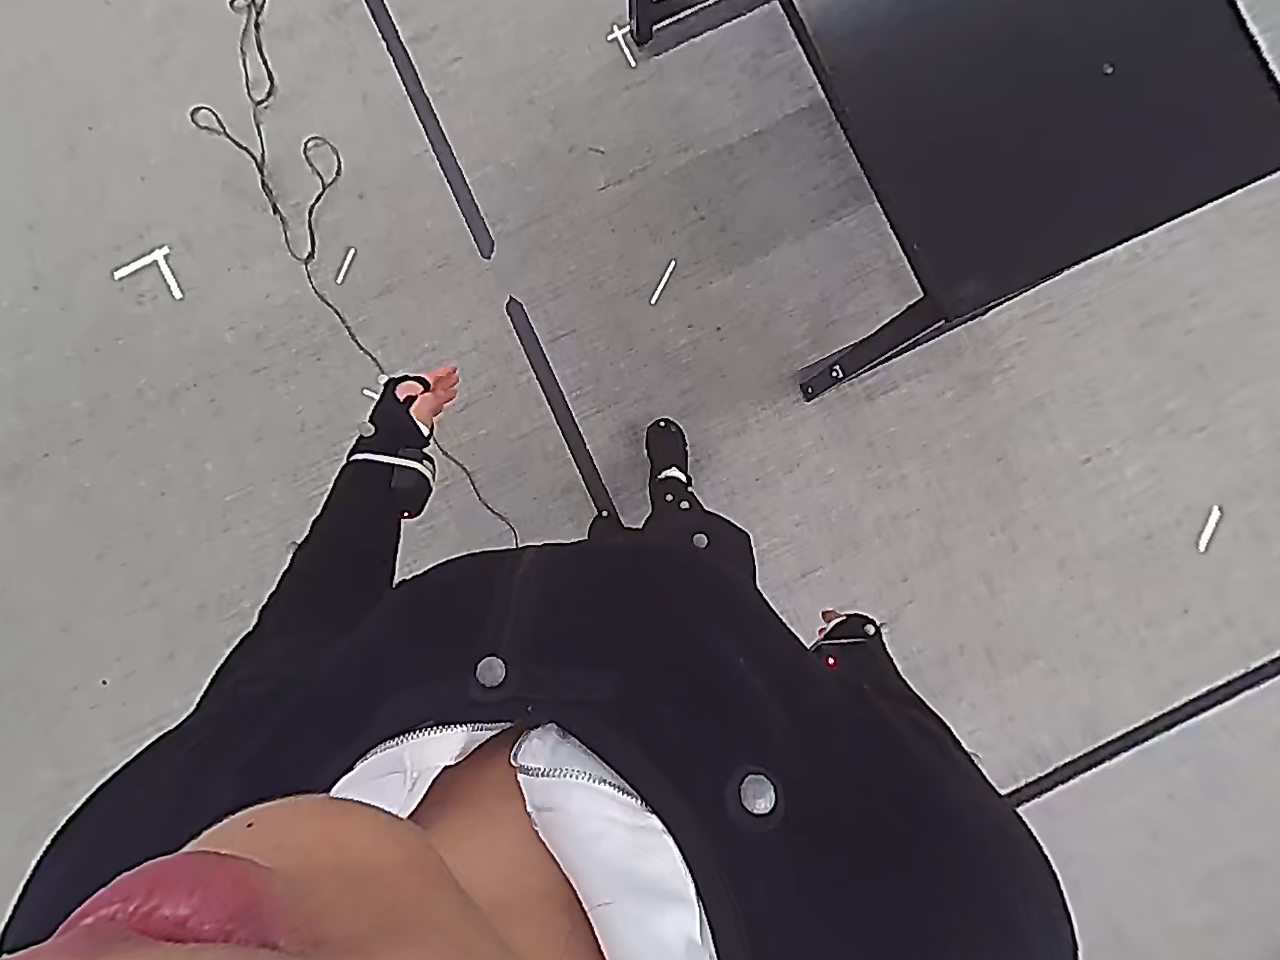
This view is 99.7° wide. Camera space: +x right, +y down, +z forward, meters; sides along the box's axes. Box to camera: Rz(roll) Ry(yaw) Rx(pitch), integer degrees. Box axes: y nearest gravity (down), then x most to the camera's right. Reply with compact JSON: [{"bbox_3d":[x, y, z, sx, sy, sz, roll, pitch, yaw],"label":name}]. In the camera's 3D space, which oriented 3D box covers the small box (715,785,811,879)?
[{"bbox_3d":[0.303,0.928,1.383,0.179,0.176,0.168,-26,88,-1],"label":"small box"}]
